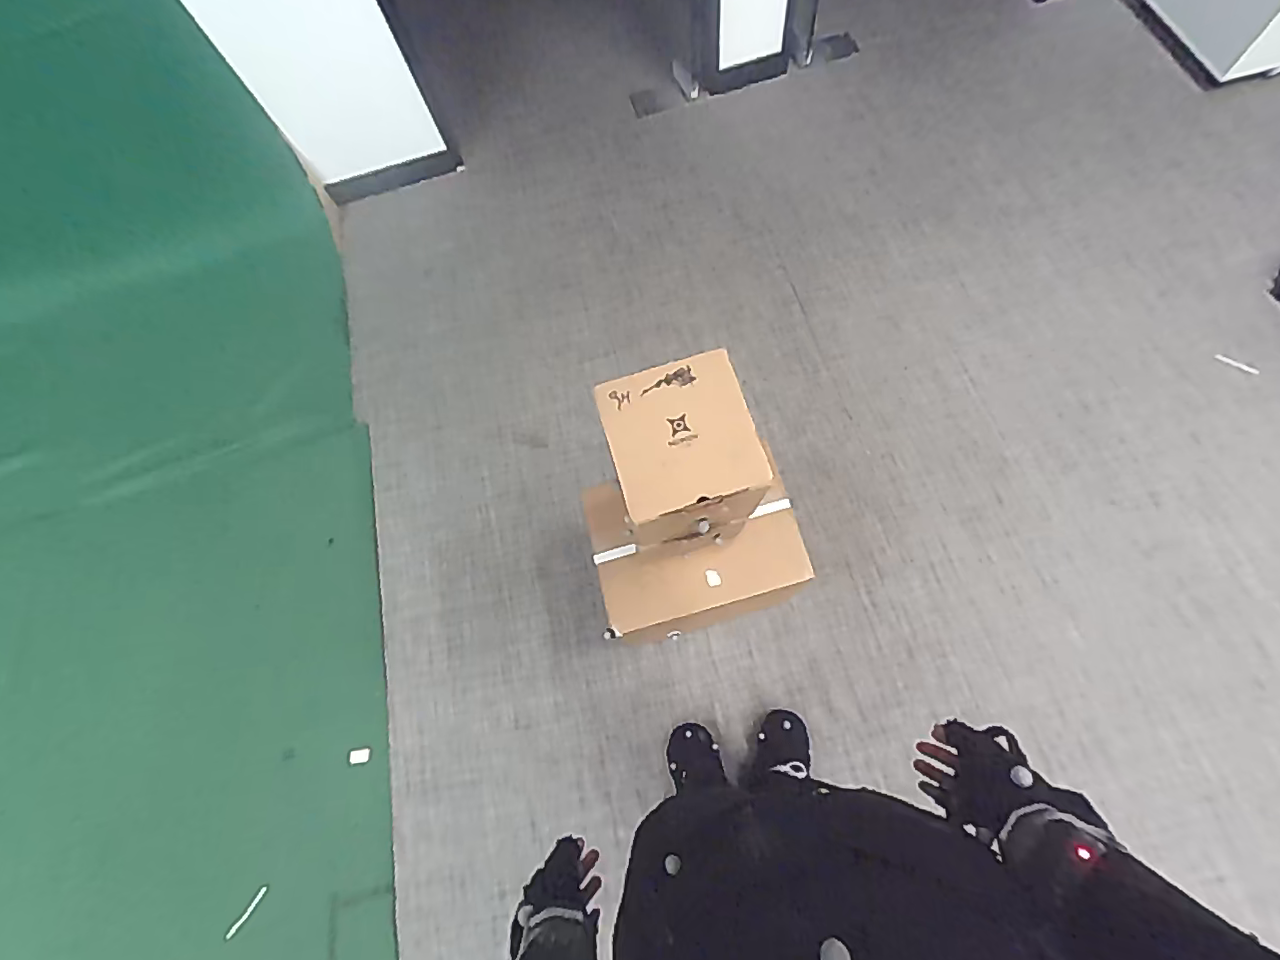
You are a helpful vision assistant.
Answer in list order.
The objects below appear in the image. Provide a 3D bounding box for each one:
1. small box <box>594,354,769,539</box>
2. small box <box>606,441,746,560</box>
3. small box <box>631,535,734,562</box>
[{"bbox_3d":[0.051,-0.029,0.698,0.168,0.176,0.179,-17,75,-1],"label":"small box"},{"bbox_3d":[0.055,0.020,0.854,0.168,0.176,0.179,-17,73,-1],"label":"small box"},{"bbox_3d":[0.069,0.053,1.010,0.179,0.176,0.168,-9,73,3],"label":"small box"}]
